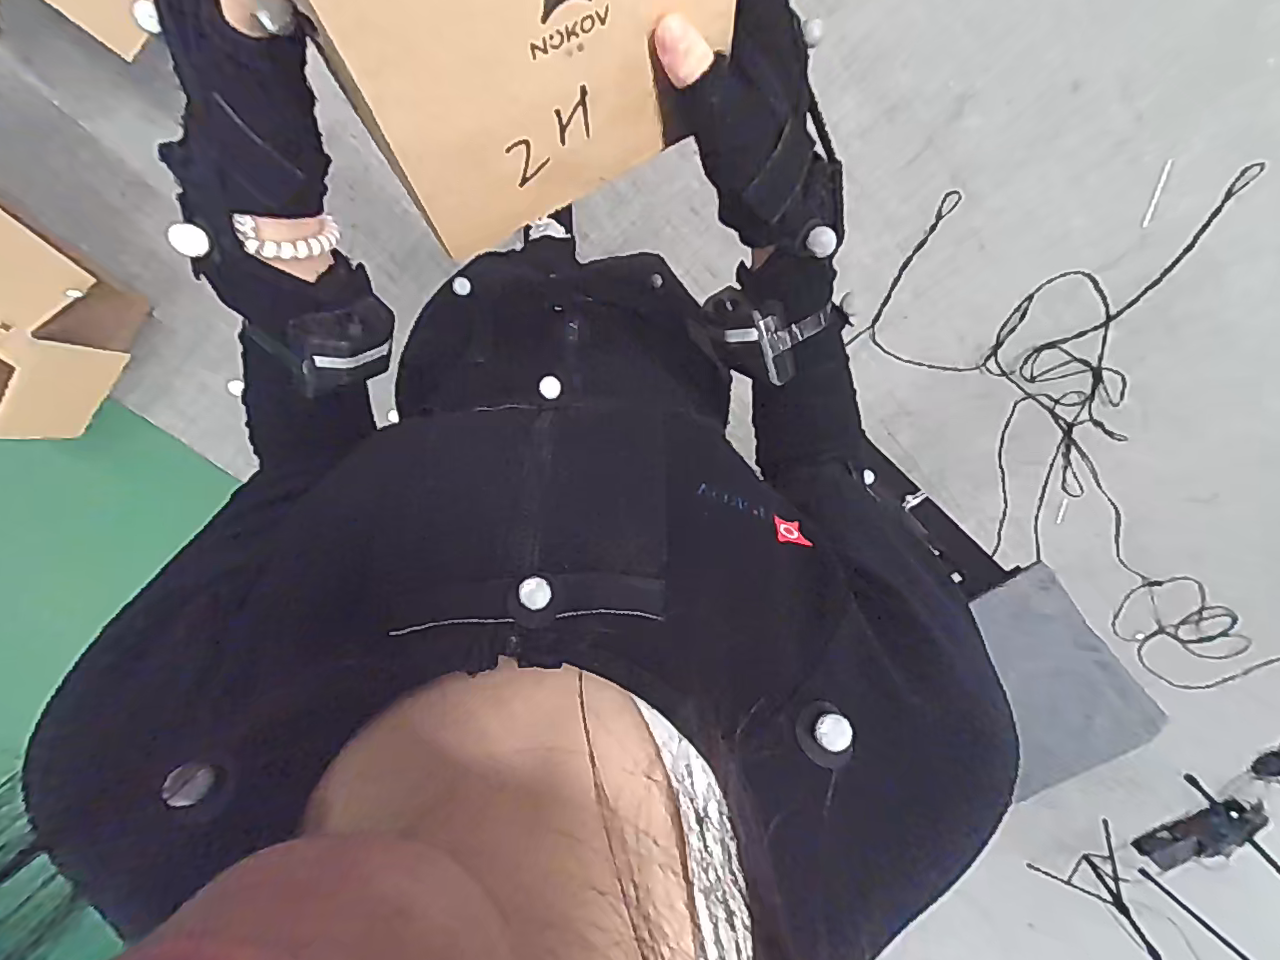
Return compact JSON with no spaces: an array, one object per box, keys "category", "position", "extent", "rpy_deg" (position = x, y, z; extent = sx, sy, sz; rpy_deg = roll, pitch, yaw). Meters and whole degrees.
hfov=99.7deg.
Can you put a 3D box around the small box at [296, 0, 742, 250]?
[{"category":"small box","position":[-0.070,-0.245,0.220],"extent":[0.168,0.179,0.176],"rpy_deg":[-32,74,-7]}]
